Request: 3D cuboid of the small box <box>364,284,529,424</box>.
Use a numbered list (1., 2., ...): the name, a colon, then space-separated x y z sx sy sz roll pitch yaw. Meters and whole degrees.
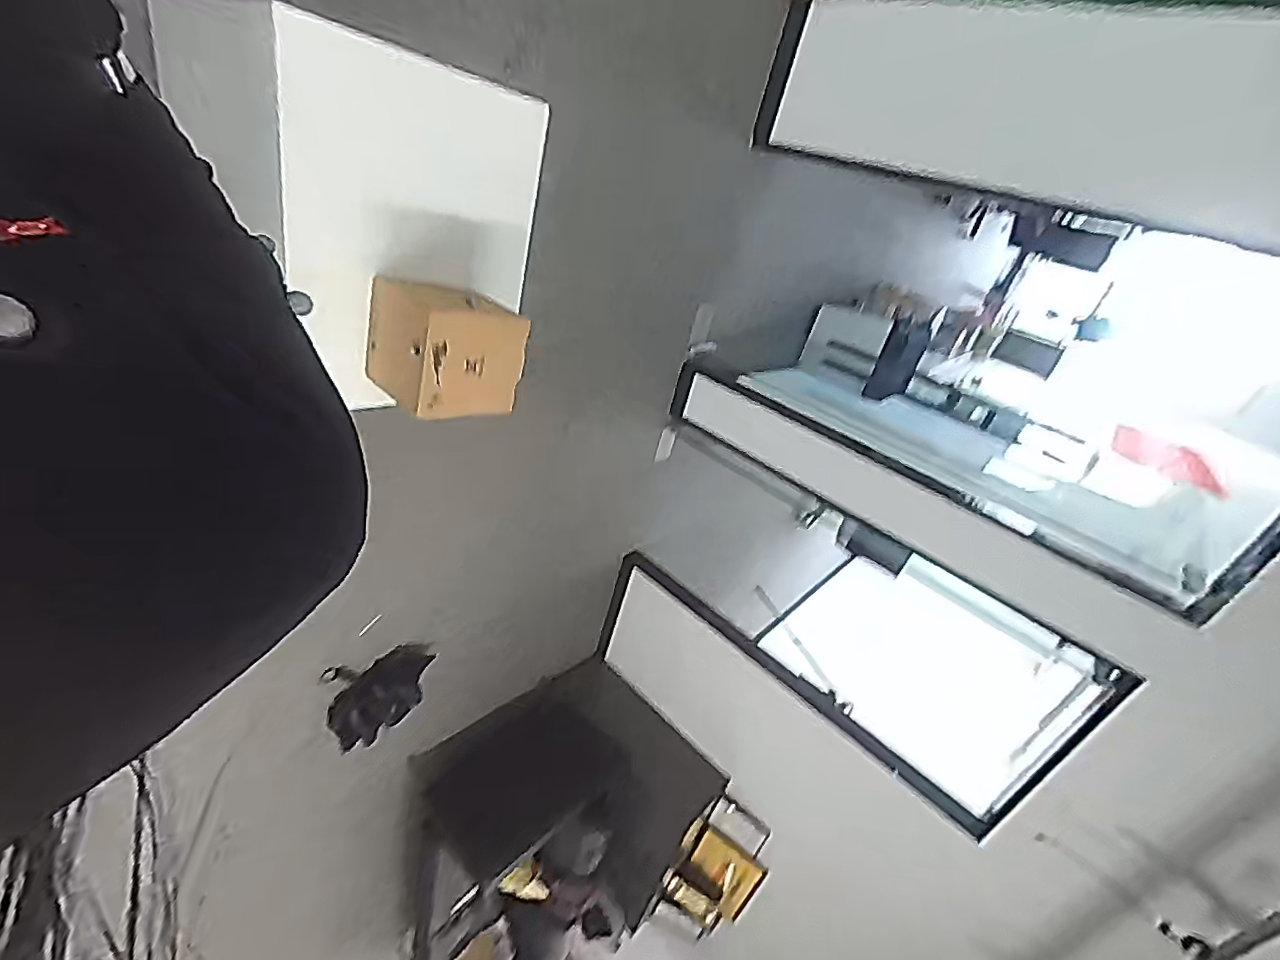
1. small box: -0.313 -0.204 0.871 0.179 0.176 0.168 -13 129 -50
